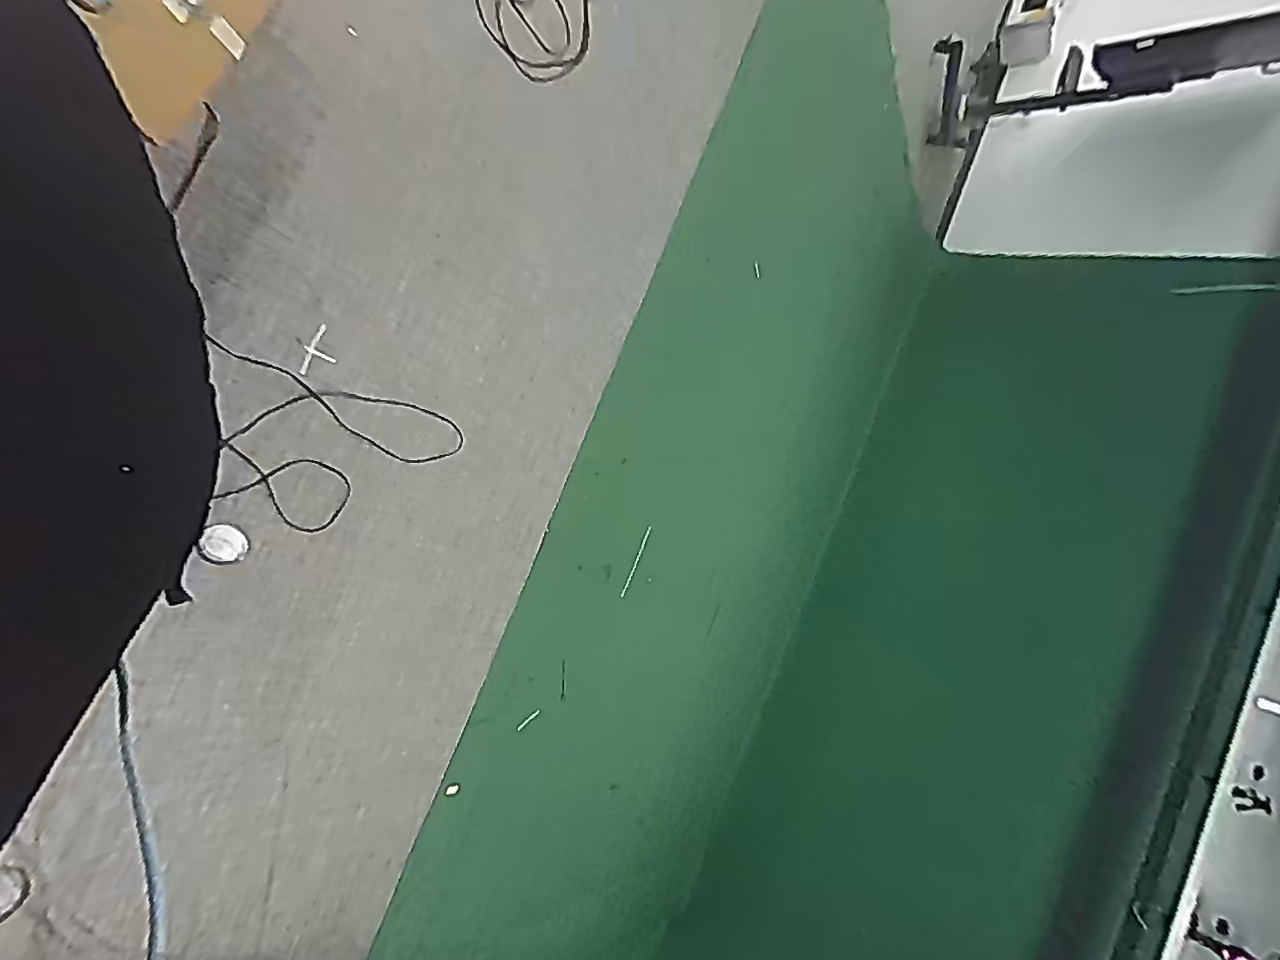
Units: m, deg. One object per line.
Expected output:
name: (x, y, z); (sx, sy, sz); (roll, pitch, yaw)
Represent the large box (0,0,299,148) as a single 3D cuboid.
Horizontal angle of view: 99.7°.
large box: (-0.627, -0.631, 0.511); (0.320, 0.408, 0.320); (-59, -175, -8)
